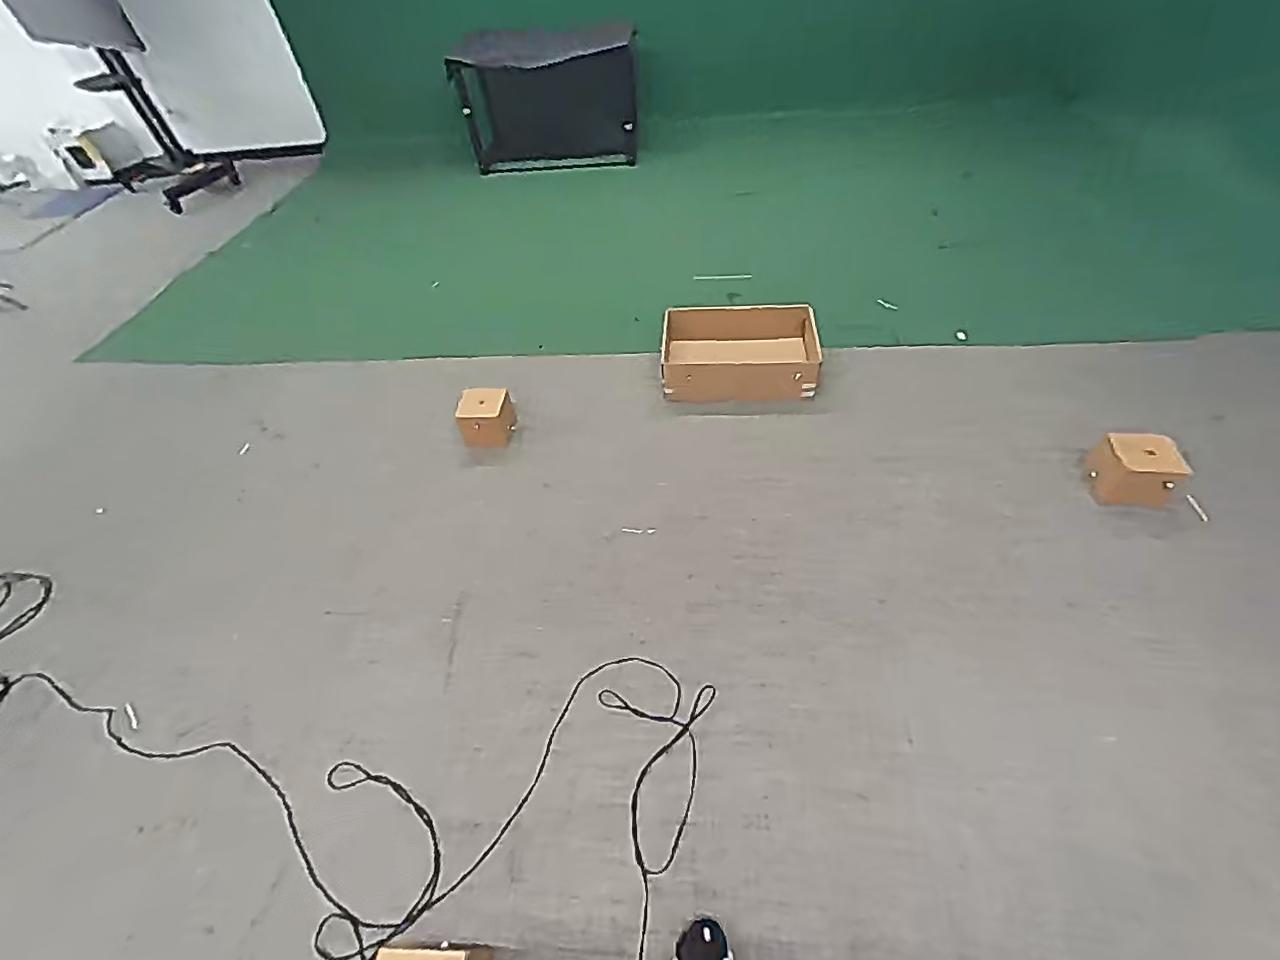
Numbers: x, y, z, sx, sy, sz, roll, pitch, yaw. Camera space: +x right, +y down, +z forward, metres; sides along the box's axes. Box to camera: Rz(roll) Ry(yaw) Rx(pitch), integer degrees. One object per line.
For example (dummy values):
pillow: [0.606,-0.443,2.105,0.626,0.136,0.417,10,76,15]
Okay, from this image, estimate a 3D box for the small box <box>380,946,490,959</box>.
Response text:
small box: [-0.400,0.999,1.026,0.179,0.176,0.168,-1,49,4]

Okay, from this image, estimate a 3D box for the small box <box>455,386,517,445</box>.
small box: [-0.602,-0.251,2.134,0.179,0.176,0.168,0,51,4]

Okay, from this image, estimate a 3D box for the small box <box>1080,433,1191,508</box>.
small box: [1.553,-0.026,1.708,0.179,0.176,0.168,4,49,10]
